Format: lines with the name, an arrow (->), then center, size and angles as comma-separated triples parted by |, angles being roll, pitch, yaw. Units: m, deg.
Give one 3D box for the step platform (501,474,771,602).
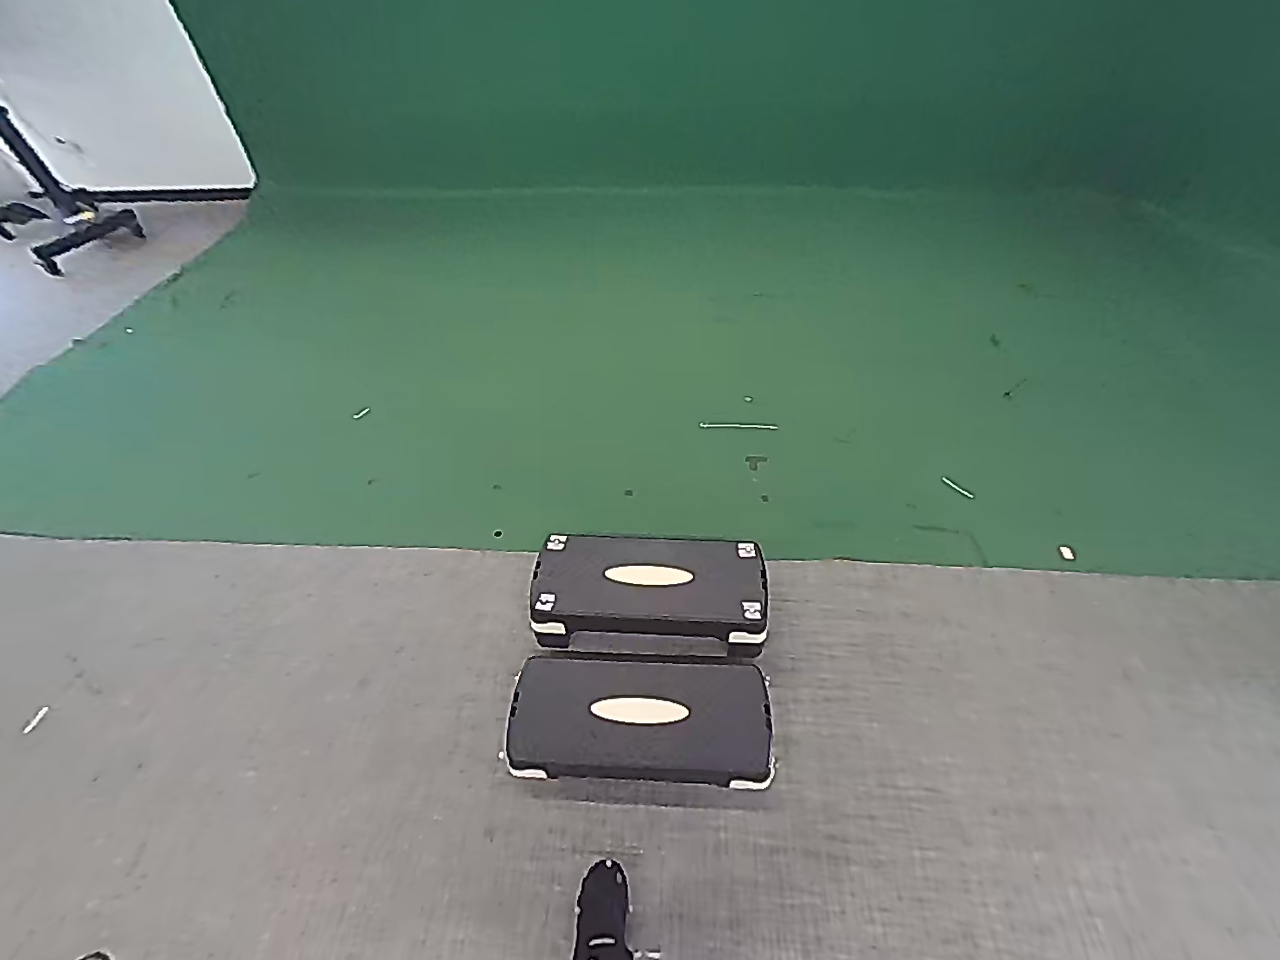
step platform -> -0.007, 0.158, 1.454 | 0.684, 0.204, 0.286 | 1, 49, 4
